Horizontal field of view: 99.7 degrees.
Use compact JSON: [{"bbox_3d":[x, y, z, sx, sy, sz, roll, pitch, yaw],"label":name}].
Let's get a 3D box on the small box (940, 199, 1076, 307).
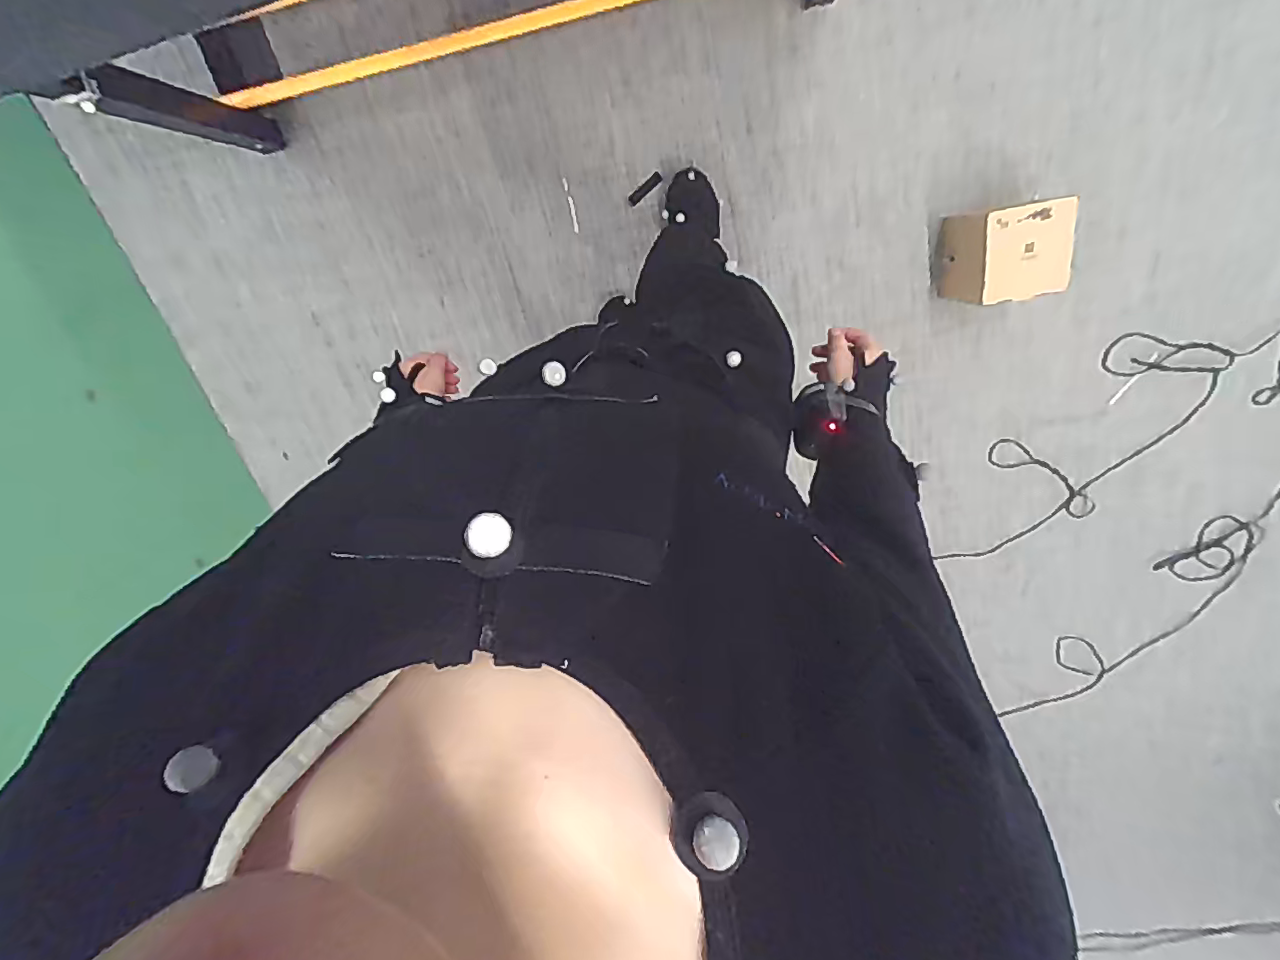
[{"bbox_3d":[0.749,-0.472,1.123,0.168,0.176,0.179,-9,114,4],"label":"small box"}]
